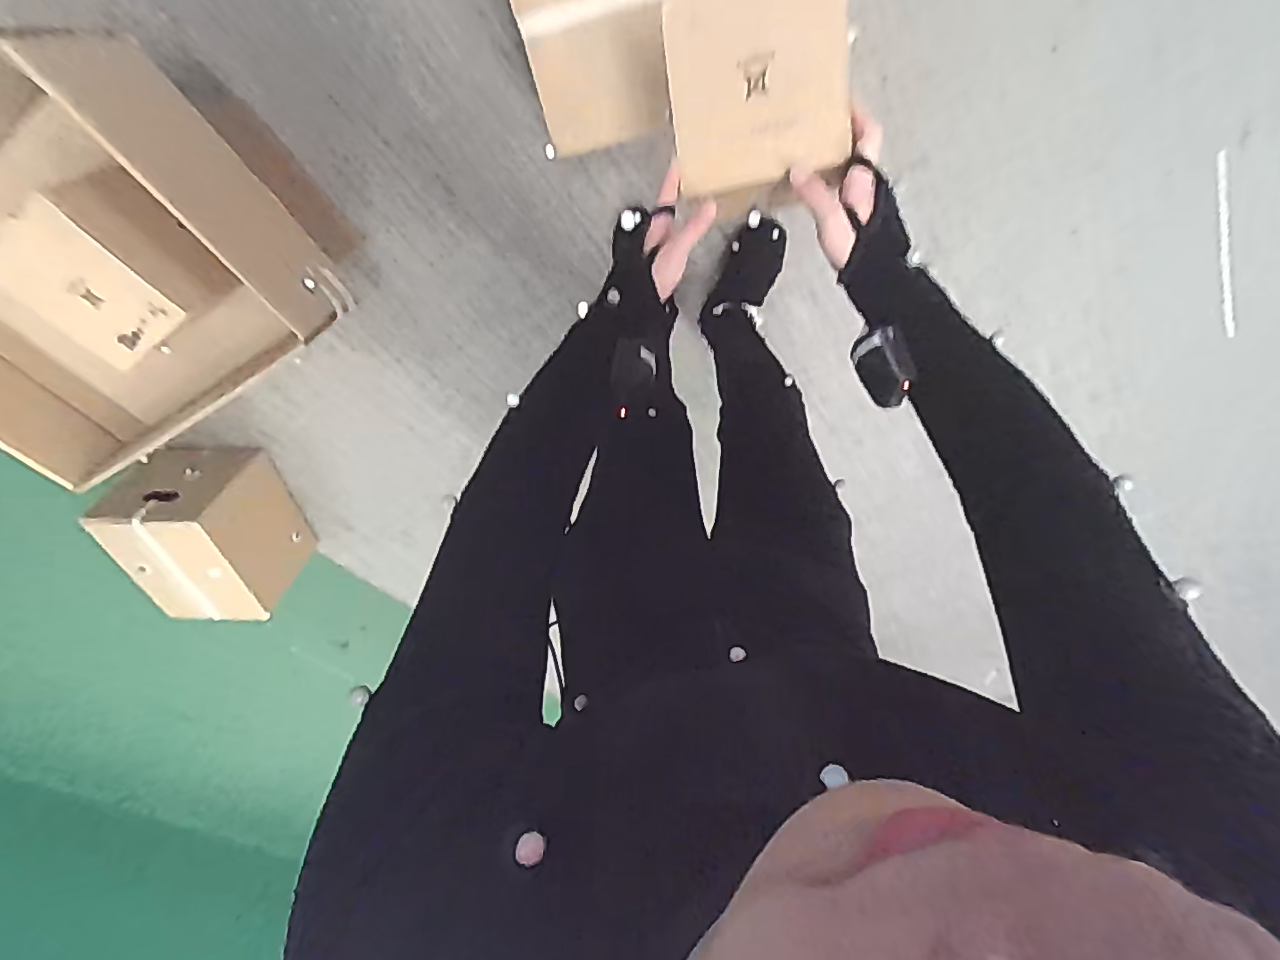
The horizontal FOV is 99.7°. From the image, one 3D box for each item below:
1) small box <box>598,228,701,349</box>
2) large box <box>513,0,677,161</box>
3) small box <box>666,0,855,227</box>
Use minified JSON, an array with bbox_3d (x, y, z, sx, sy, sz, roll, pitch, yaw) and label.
[{"bbox_3d":[0.021,-0.421,1.189,0.179,0.176,0.168,31,122,-12],"label":"small box"},{"bbox_3d":[0.040,-0.730,0.810,0.408,0.320,0.320,-8,129,9],"label":"large box"},{"bbox_3d":[0.130,-0.389,0.576,0.168,0.176,0.179,-4,105,16],"label":"small box"}]
